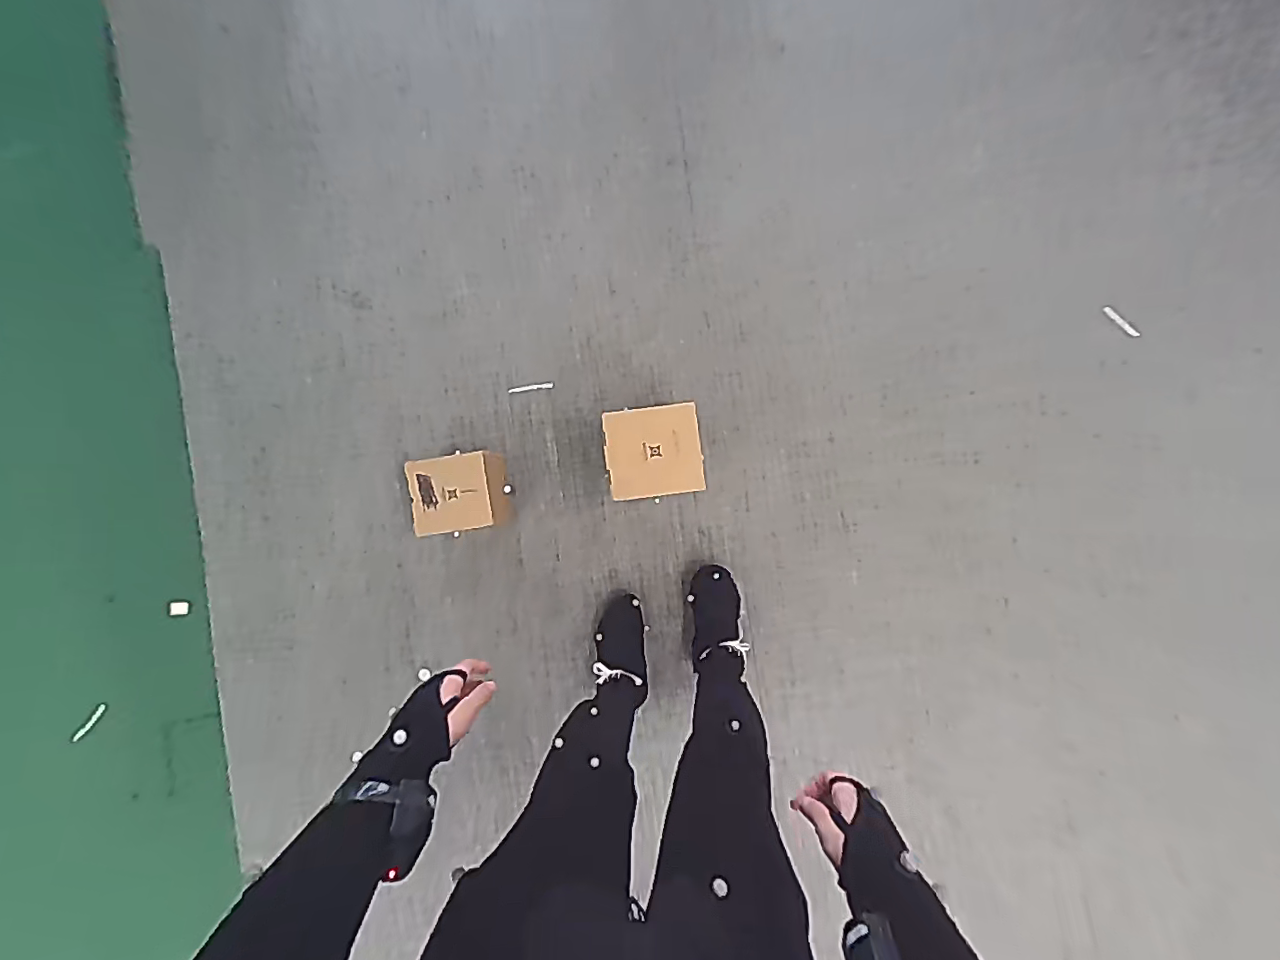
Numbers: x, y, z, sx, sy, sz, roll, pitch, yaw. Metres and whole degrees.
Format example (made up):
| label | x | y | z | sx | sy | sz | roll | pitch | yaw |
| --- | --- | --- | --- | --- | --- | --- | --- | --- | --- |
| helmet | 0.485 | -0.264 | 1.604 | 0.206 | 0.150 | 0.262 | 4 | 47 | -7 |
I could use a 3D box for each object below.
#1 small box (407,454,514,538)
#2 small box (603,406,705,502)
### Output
| label | x | y | z | sx | sy | sz | roll | pitch | yaw |
| --- | --- | --- | --- | --- | --- | --- | --- | --- | --- |
| small box | -0.408 | 0.038 | 1.249 | 0.179 | 0.176 | 0.168 | -9 | 89 | 1 |
| small box | 0.027 | -0.045 | 1.074 | 0.179 | 0.176 | 0.168 | -7 | 89 | 1 |
